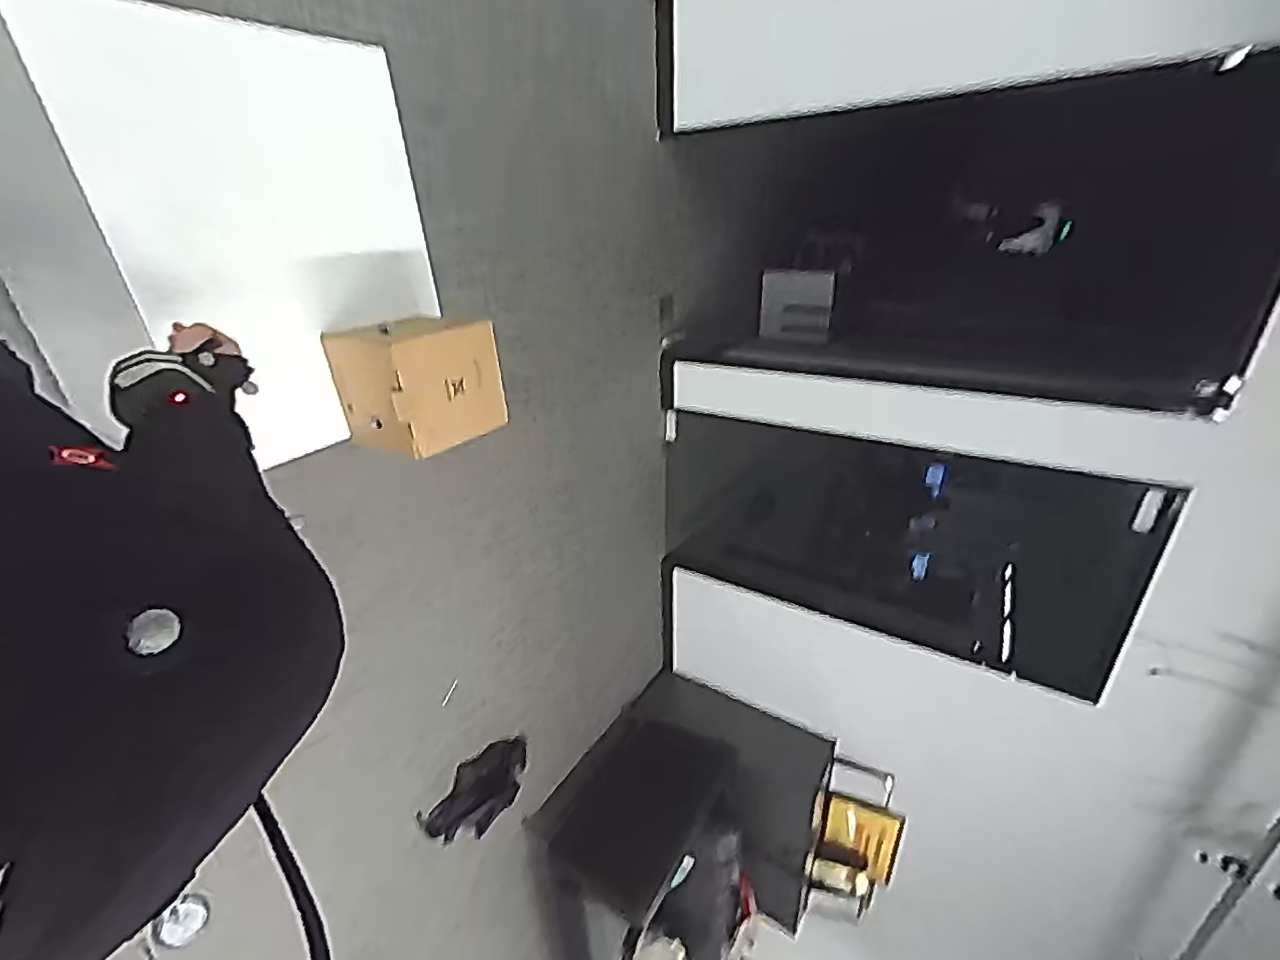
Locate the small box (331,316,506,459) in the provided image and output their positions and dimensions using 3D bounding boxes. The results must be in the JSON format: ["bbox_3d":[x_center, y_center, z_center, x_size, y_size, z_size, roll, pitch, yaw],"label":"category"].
[{"bbox_3d":[-0.336,-0.149,0.824,0.179,0.176,0.168,-38,133,-48],"label":"small box"}]
